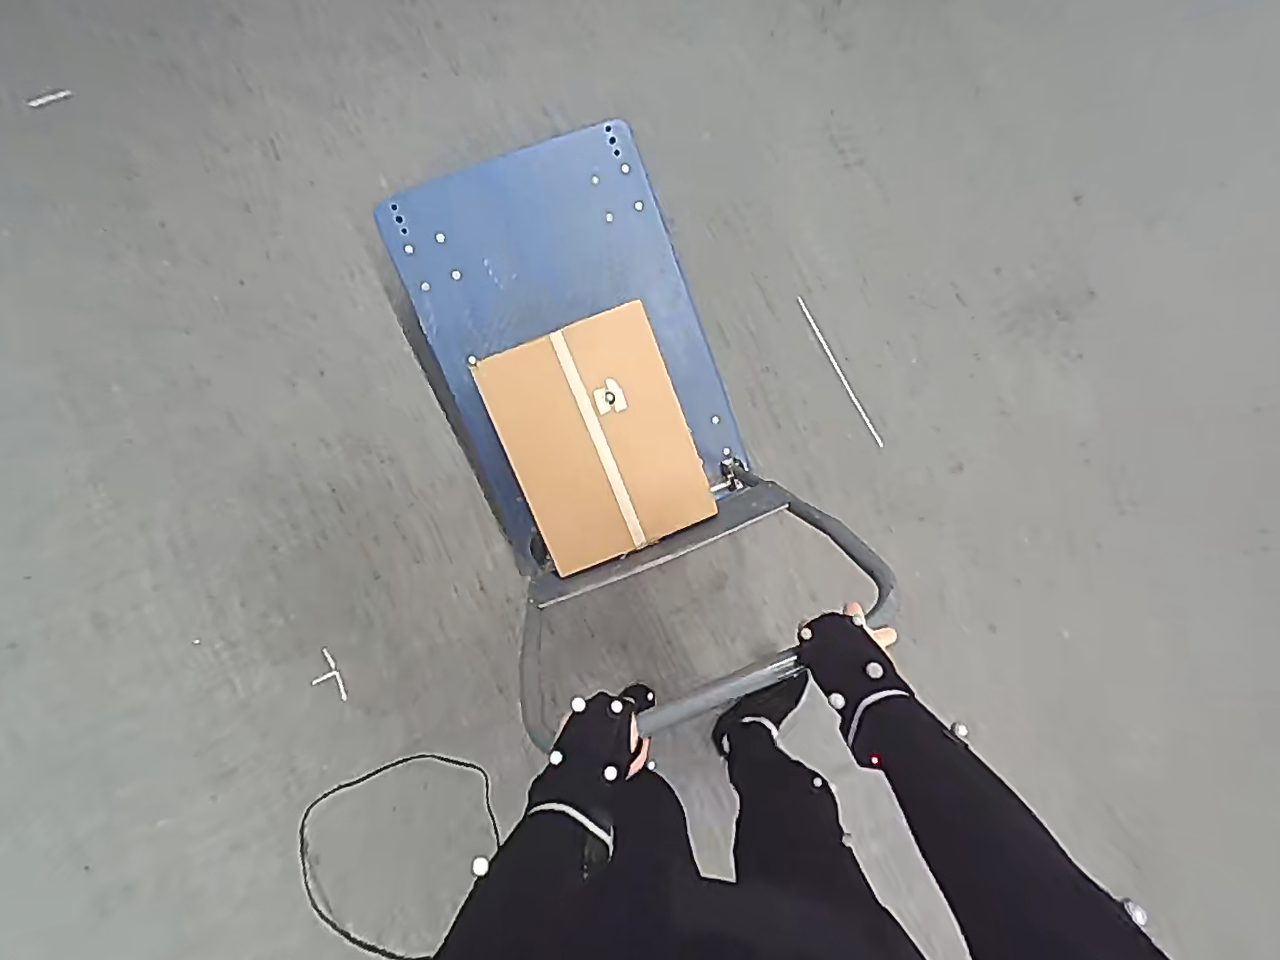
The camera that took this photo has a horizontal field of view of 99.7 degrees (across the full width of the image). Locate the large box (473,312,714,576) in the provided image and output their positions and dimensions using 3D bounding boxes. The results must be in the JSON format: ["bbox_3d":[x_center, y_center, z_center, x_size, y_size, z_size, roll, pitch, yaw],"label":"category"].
[{"bbox_3d":[-0.088,-0.076,1.118,0.320,0.320,0.408,-23,99,-3],"label":"large box"}]
